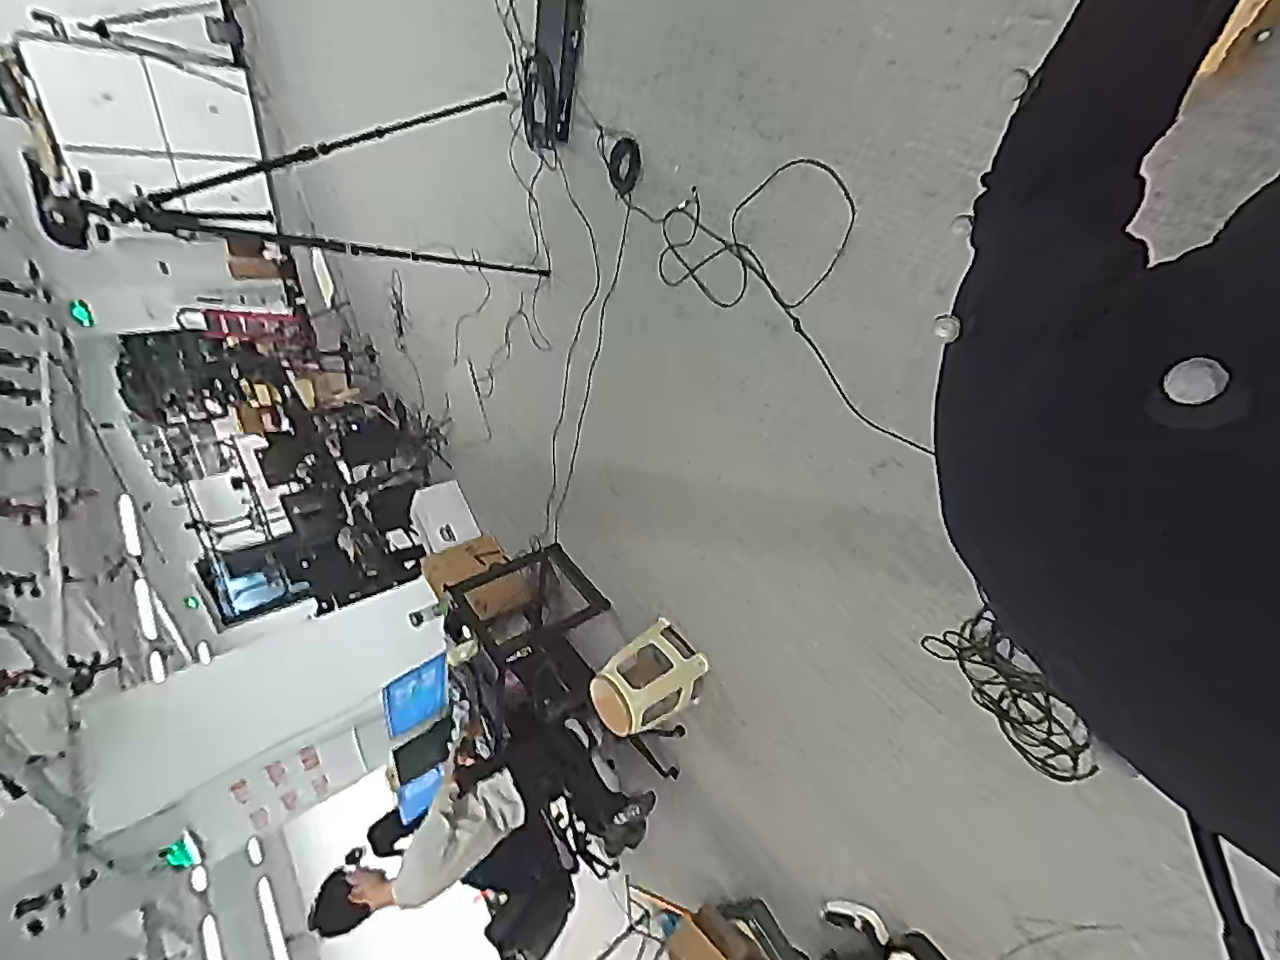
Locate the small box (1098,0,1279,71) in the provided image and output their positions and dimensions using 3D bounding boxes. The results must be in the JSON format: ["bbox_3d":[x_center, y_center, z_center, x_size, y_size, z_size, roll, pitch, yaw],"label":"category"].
[{"bbox_3d":[0.901,-0.779,0.865,0.179,0.176,0.168,43,138,31],"label":"small box"}]
